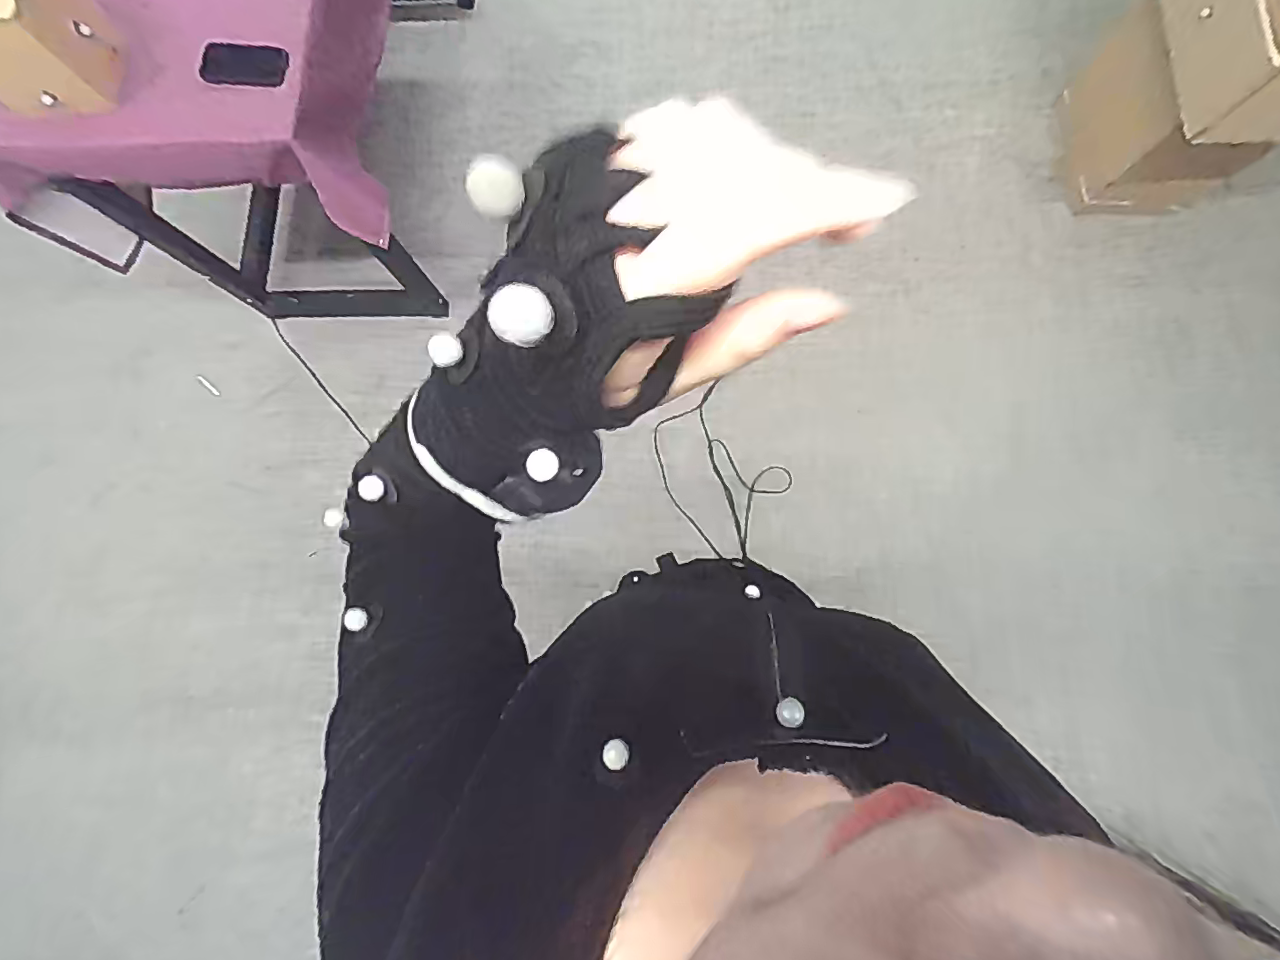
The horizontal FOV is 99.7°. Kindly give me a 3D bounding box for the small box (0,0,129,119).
[{"bbox_3d":[-1.024,-0.749,0.912,0.179,0.176,0.168,-4,80,1],"label":"small box"}]
